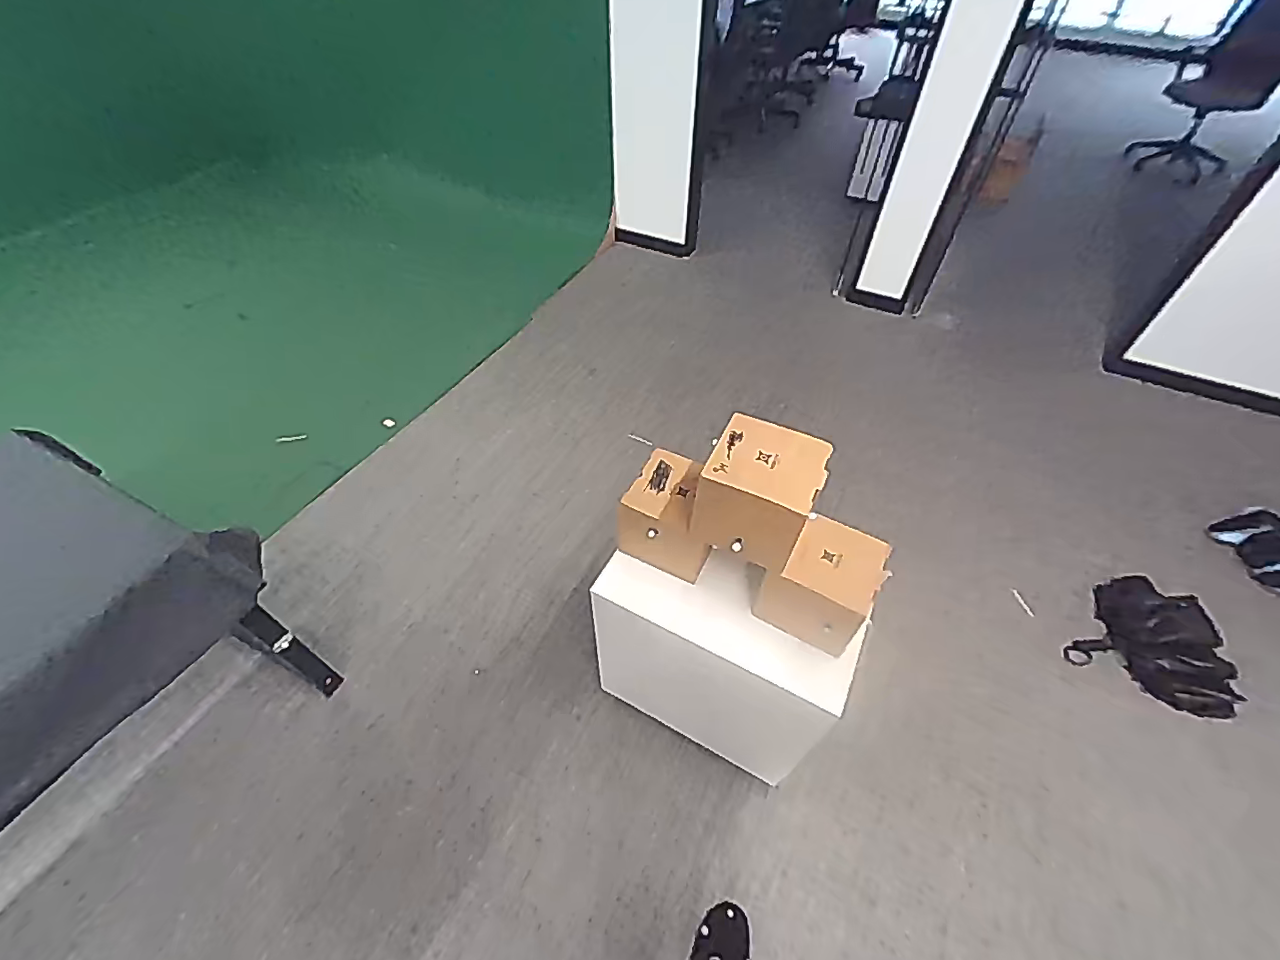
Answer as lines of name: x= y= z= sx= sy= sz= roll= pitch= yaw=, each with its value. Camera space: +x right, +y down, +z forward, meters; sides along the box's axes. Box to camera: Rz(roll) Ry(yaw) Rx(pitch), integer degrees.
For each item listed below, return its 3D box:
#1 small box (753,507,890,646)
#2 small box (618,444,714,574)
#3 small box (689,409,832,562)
small box: x=0.328 y=0.180 z=0.997 sx=0.179 sy=0.176 sz=0.168 roll=23 pitch=52 yaw=20
small box: x=0.069 y=0.063 z=1.088 sx=0.179 sy=0.176 sz=0.168 roll=23 pitch=54 yaw=15
small box: x=0.199 y=0.014 z=0.920 sx=0.179 sy=0.176 sz=0.168 roll=22 pitch=53 yaw=15
